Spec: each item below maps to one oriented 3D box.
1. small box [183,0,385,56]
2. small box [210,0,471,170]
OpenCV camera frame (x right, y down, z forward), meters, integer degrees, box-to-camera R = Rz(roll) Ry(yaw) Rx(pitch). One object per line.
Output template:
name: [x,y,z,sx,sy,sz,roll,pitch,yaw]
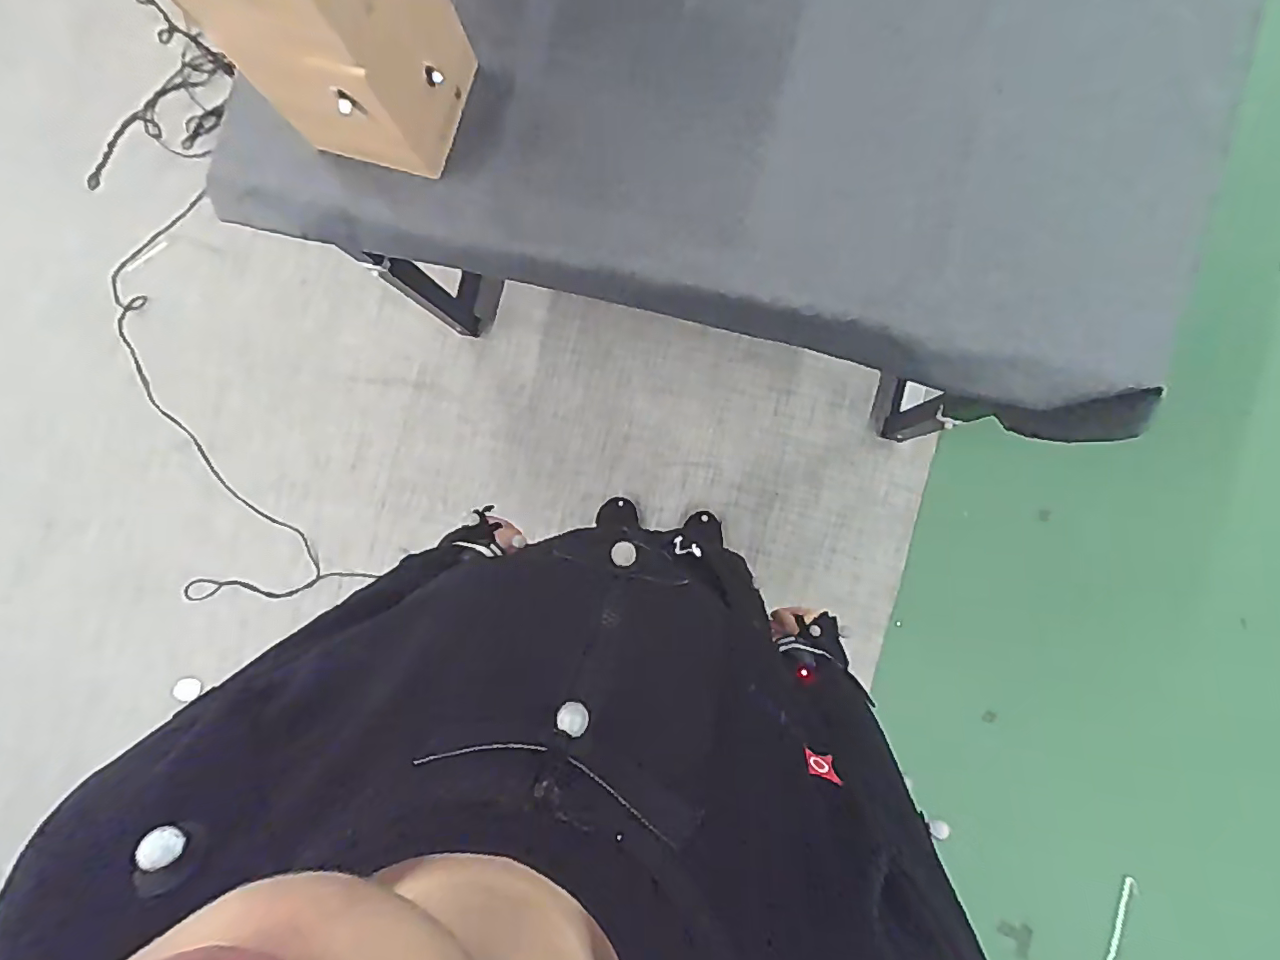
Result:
small box: [-0.332,-0.504,0.451,0.179,0.176,0.168,13,88,5]
small box: [-0.317,-0.490,0.613,0.179,0.176,0.168,17,88,5]
